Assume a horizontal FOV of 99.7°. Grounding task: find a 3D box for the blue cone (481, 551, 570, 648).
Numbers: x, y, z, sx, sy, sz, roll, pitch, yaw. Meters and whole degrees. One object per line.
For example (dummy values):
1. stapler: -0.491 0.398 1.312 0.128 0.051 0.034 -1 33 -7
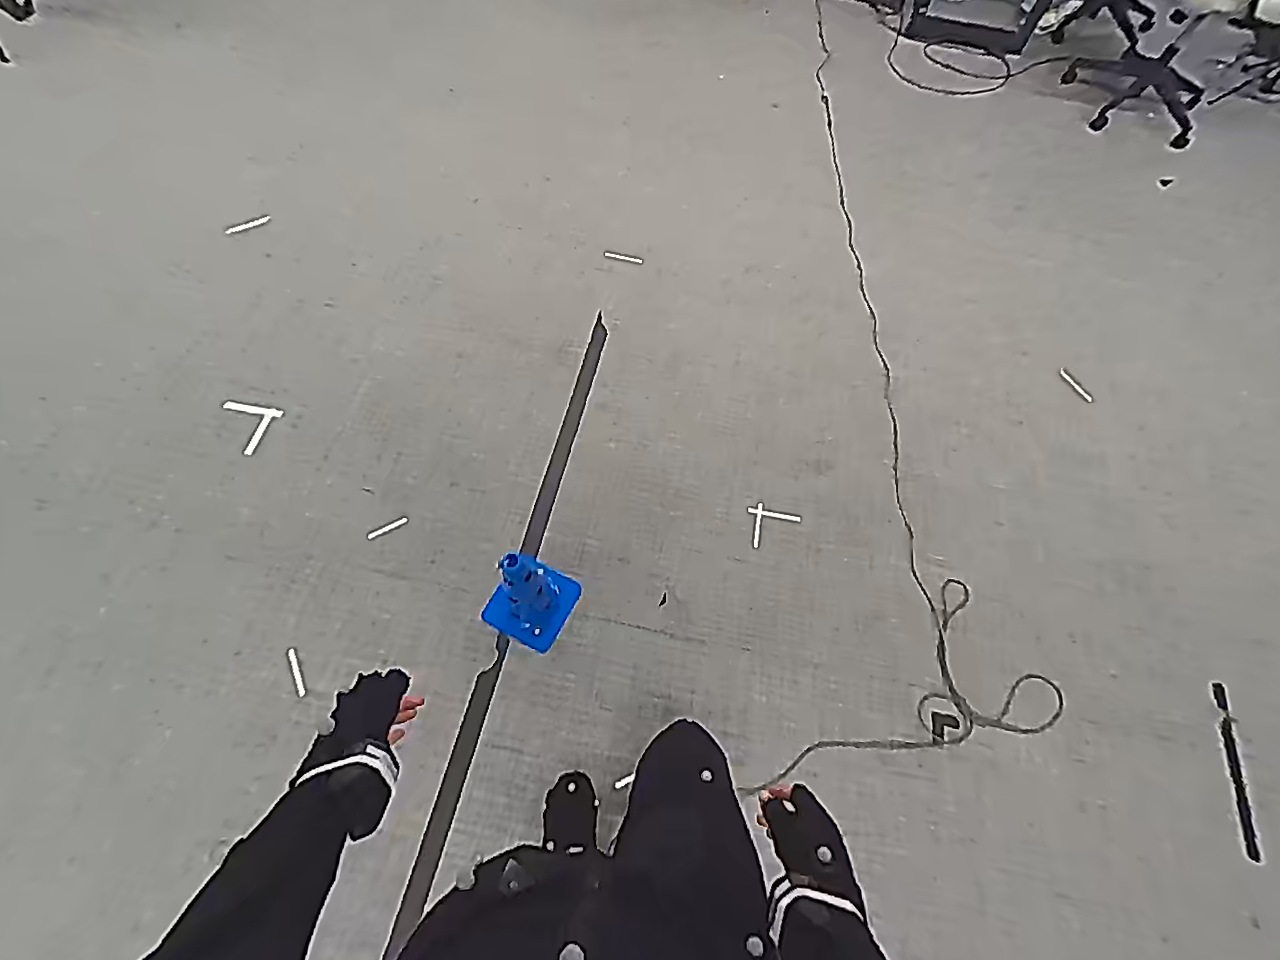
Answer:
1. blue cone: -0.285 0.246 1.252 0.192 0.380 0.193 27 65 10
